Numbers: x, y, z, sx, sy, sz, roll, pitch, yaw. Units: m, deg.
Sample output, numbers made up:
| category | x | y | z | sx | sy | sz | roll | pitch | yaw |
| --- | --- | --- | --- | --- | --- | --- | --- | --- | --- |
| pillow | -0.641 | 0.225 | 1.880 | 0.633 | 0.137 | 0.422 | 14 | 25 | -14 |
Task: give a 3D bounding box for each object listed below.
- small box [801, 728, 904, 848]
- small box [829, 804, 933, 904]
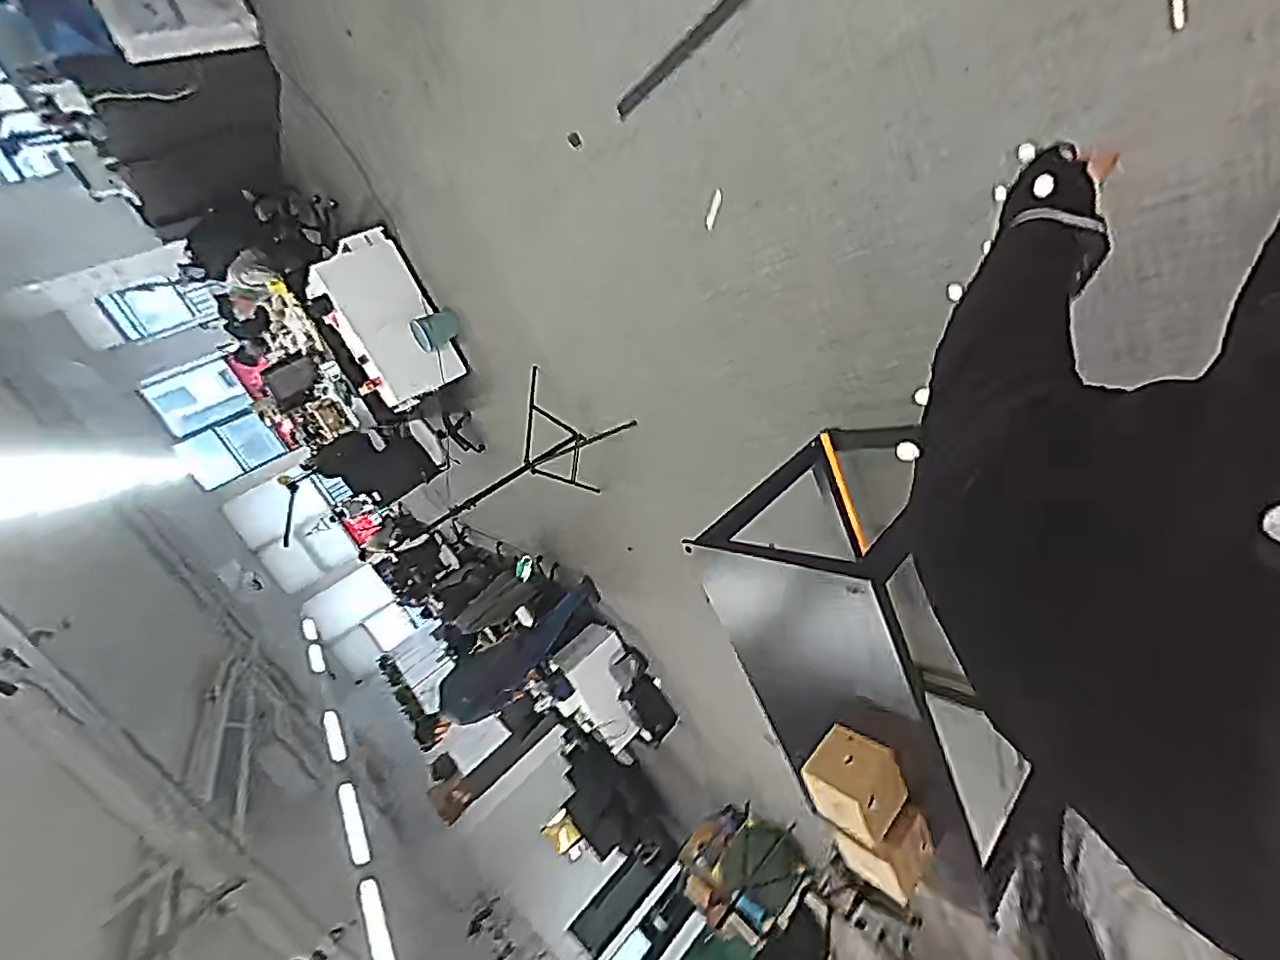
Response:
| category | x | y | z | sx | sy | sz | roll | pitch | yaw |
| --- | --- | --- | --- | --- | --- | --- | --- | --- | --- |
| small box | 0.553 | 0.787 | 1.403 | 0.168 | 0.176 | 0.179 | 6 | 127 | 56 |
| small box | 0.653 | 0.973 | 1.463 | 0.179 | 0.176 | 0.168 | 2 | 125 | 55 |
